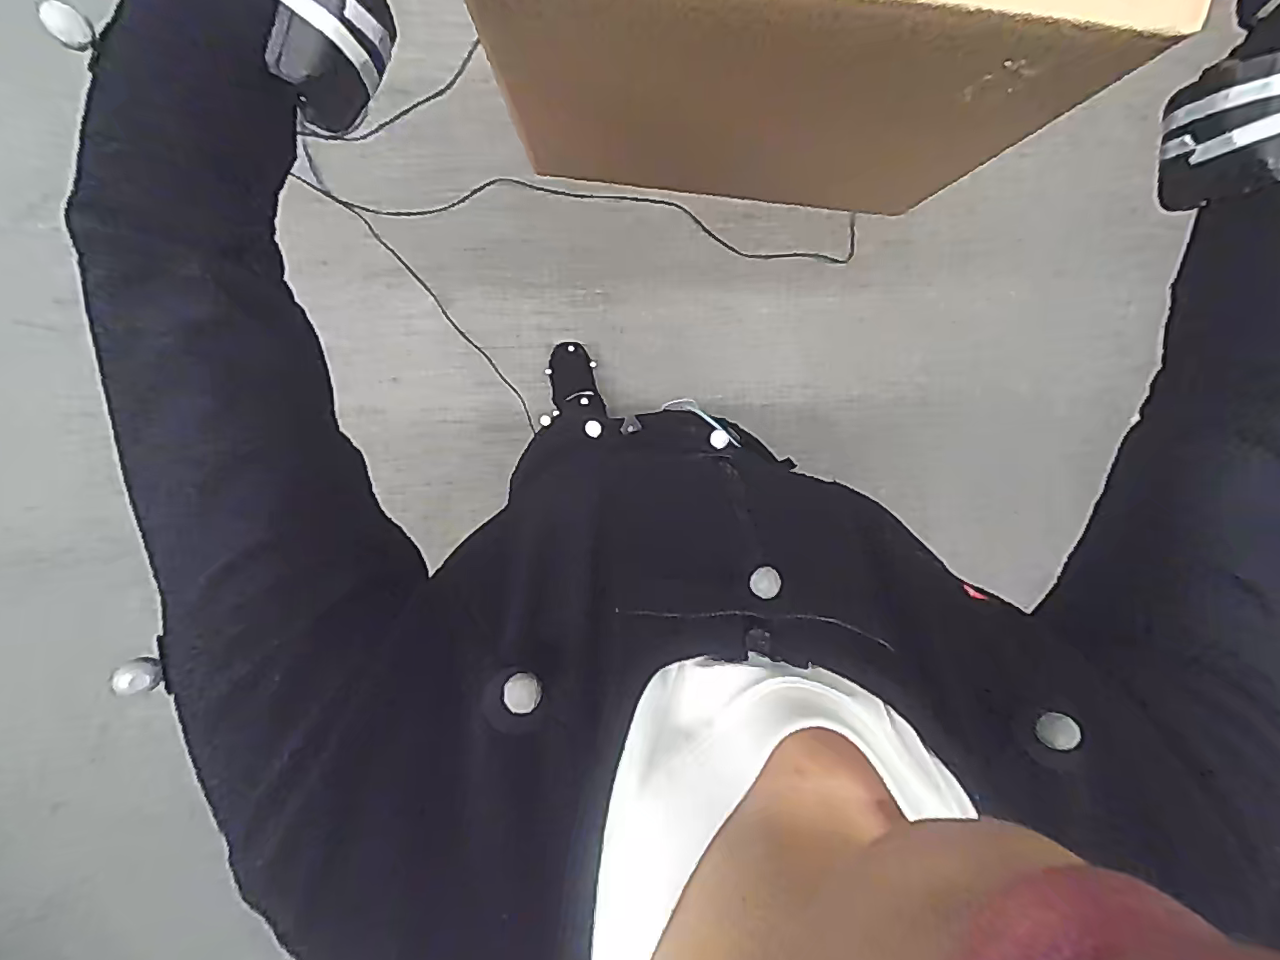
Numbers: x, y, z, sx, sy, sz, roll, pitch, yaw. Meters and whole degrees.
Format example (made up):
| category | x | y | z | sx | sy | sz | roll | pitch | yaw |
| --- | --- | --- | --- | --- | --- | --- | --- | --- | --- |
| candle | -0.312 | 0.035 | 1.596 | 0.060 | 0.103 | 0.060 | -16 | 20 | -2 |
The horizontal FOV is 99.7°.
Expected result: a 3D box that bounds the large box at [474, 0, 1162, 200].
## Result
| category | x | y | z | sx | sy | sz | roll | pitch | yaw |
| --- | --- | --- | --- | --- | --- | --- | --- | --- | --- |
| large box | 0.096 | -0.443 | 0.415 | 0.408 | 0.320 | 0.320 | 4 | 99 | -4 |
